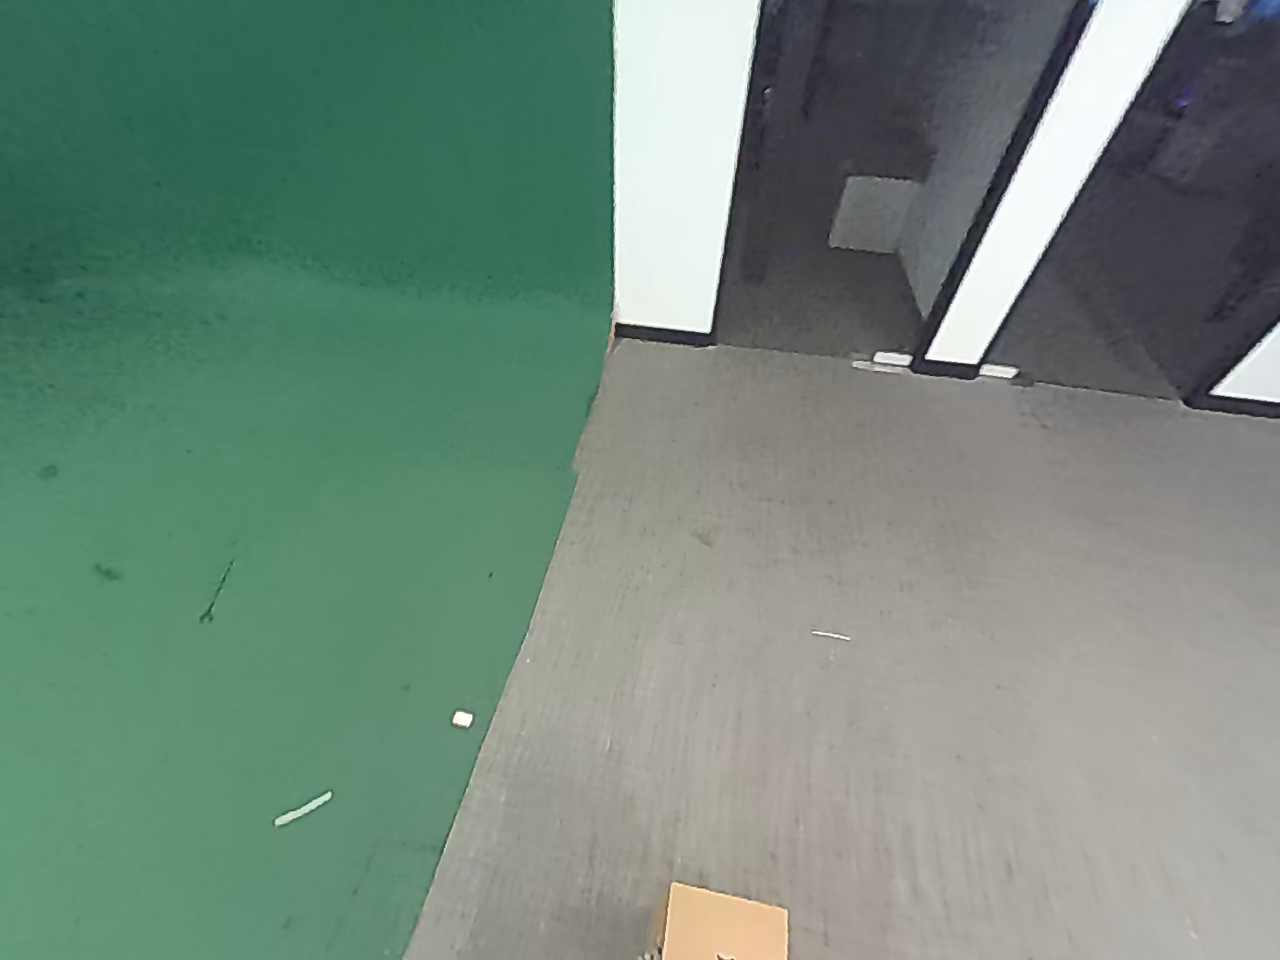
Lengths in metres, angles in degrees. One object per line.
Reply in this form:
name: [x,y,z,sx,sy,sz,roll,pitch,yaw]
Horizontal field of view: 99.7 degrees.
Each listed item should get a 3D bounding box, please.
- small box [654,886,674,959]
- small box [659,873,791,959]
small box: [0.106,0.798,0.884,0.168,0.176,0.179,8,48,7]
small box: [0.112,0.688,0.760,0.168,0.176,0.179,8,47,8]
